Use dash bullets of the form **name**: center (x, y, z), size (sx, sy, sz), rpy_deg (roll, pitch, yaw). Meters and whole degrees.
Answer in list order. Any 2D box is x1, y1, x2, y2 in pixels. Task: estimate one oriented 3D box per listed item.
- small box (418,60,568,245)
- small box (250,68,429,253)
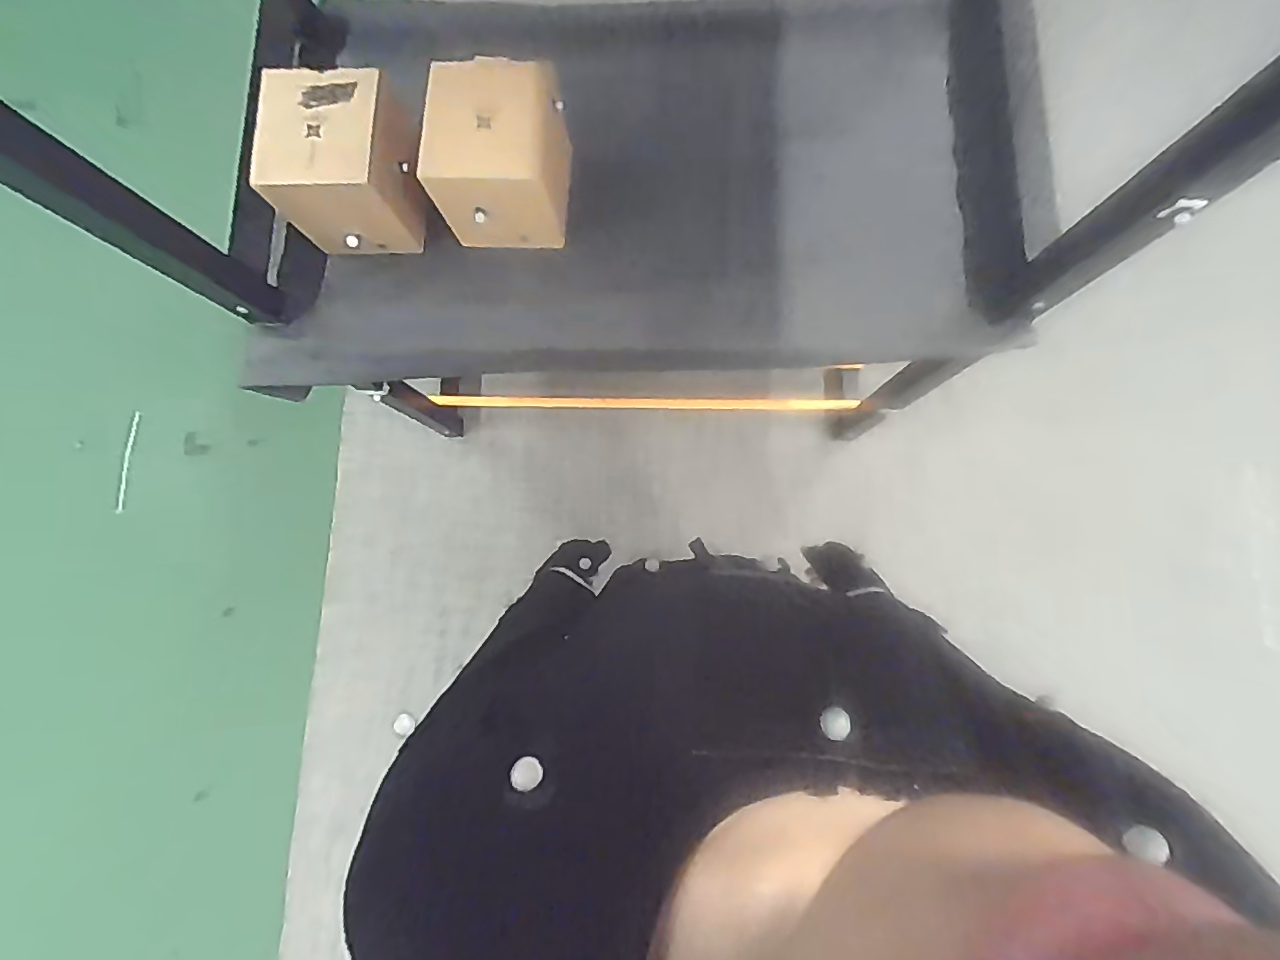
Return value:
- **small box**: center (-0.204, -0.470, 0.799), size (0.168, 0.176, 0.179), rpy_deg (2, 81, 3)
- **small box**: center (-0.431, -0.466, 0.807), size (0.168, 0.176, 0.179), rpy_deg (1, 82, 3)
